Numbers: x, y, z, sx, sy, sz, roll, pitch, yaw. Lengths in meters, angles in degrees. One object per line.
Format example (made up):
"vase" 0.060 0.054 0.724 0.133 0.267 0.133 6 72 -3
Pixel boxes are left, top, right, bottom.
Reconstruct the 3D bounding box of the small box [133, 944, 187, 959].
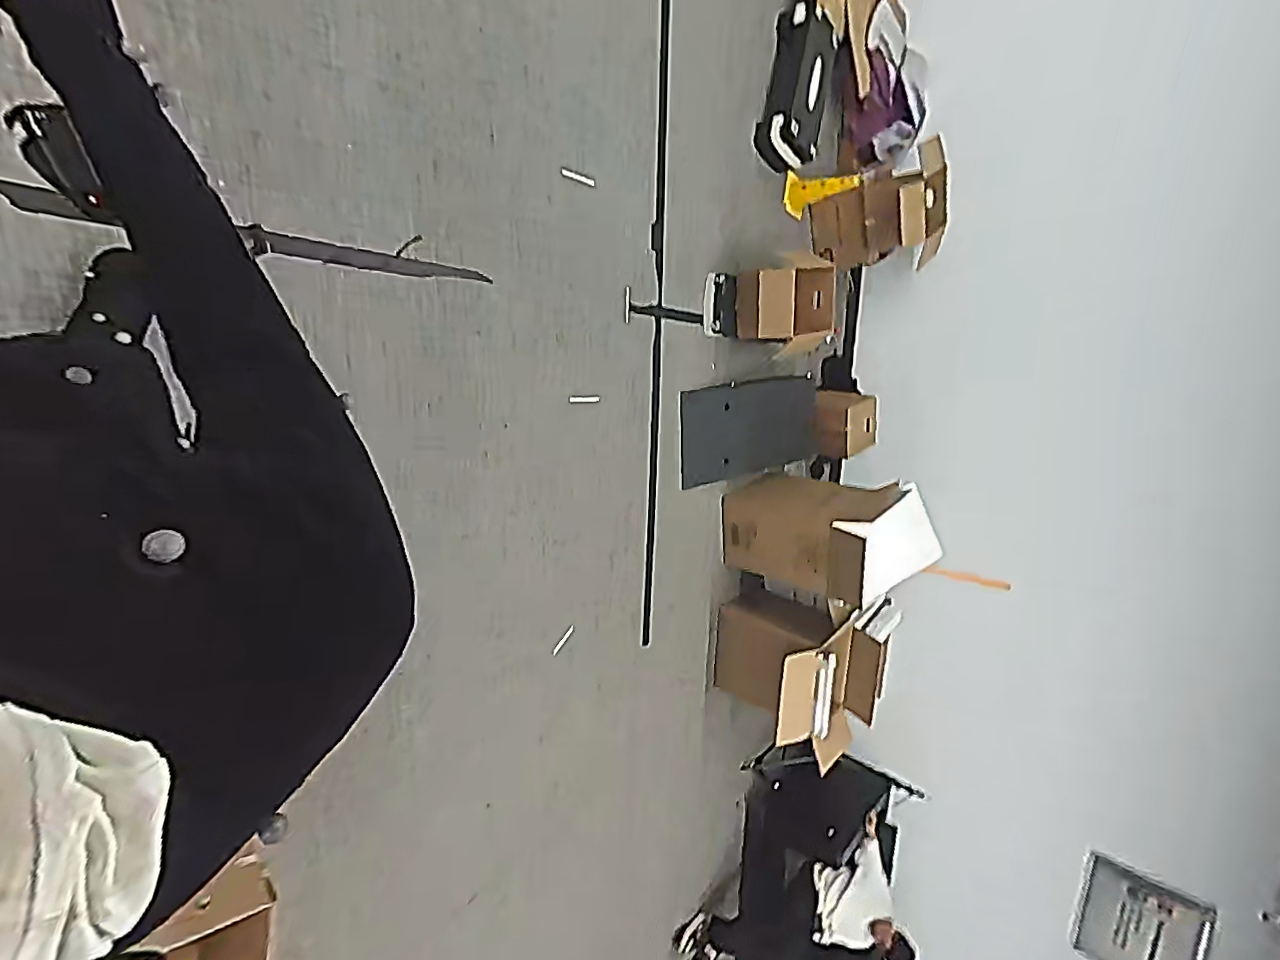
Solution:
"small box" -0.923 0.999 0.974 0.168 0.176 0.179 2 99 -46
